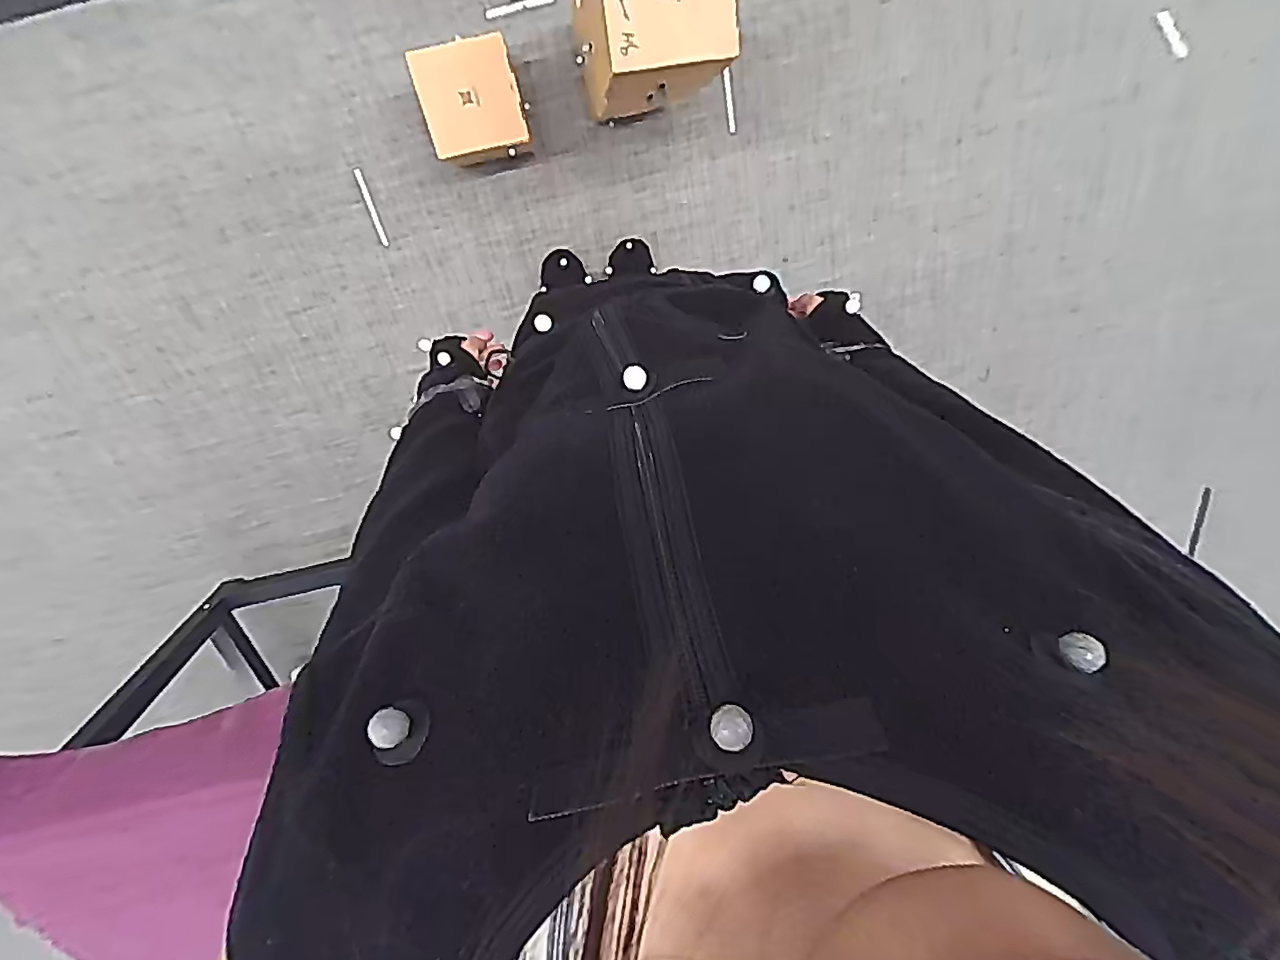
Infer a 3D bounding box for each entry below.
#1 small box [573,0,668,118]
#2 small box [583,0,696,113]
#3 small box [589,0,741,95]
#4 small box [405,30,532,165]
[{"bbox_3d":[-0.026,-0.812,1.029,0.168,0.176,0.179,-15,116,-2],"label":"small box"},{"bbox_3d":[0.005,-0.727,0.891,0.179,0.176,0.168,-13,118,-3],"label":"small box"},{"bbox_3d":[0.028,-0.652,0.746,0.179,0.176,0.168,-10,117,-5],"label":"small box"},{"bbox_3d":[-0.315,-0.718,1.034,0.179,0.176,0.168,-14,117,-2],"label":"small box"}]
